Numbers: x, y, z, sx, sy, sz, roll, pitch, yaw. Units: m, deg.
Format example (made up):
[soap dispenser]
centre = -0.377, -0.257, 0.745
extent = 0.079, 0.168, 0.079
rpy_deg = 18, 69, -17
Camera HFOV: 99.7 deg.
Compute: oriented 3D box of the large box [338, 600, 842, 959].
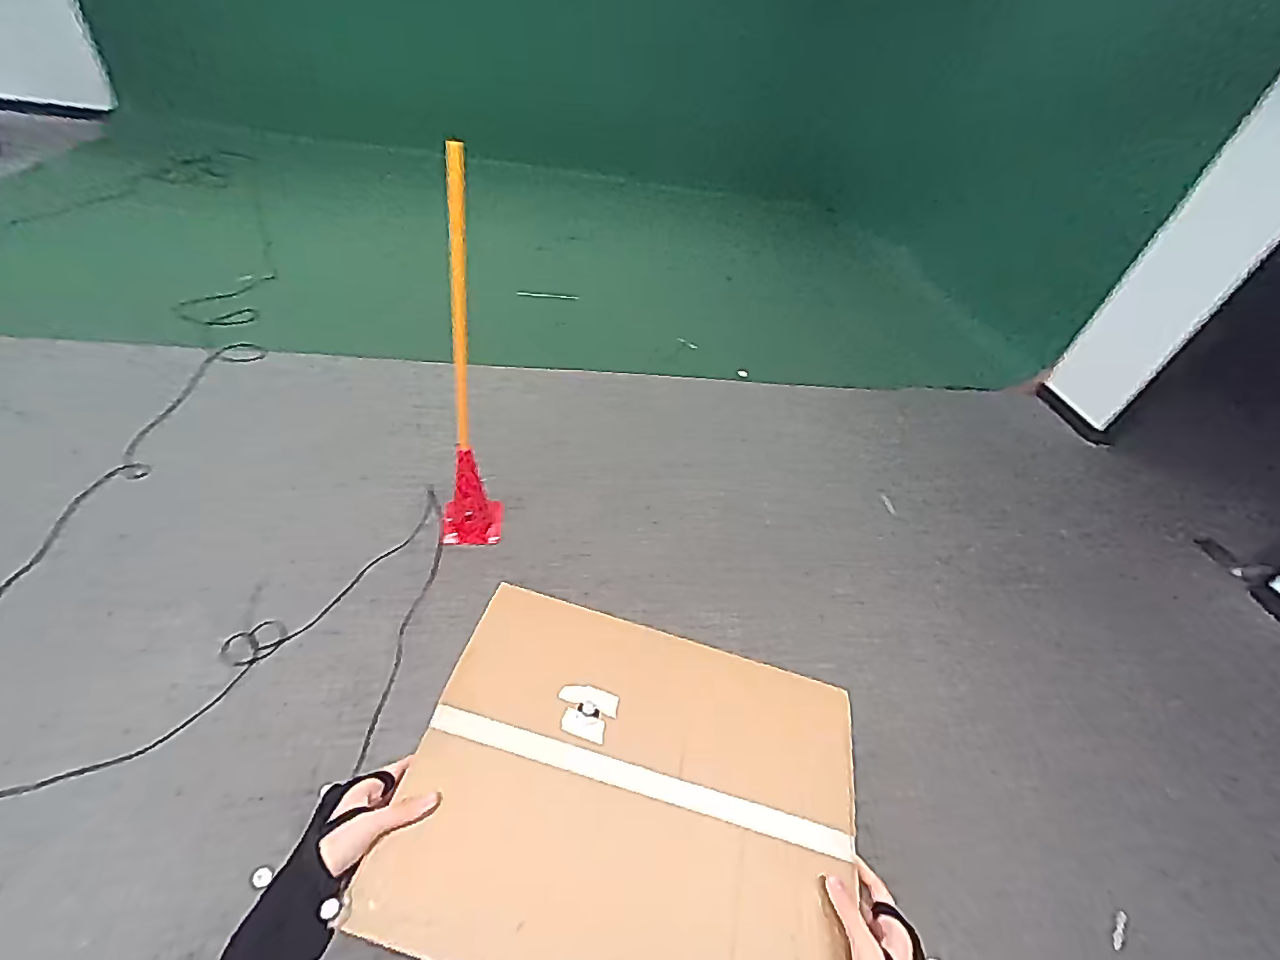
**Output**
[large box]
centre = -0.030, 0.391, 0.613
extent = 0.408, 0.320, 0.320
rpy_deg = 16, 45, 3
